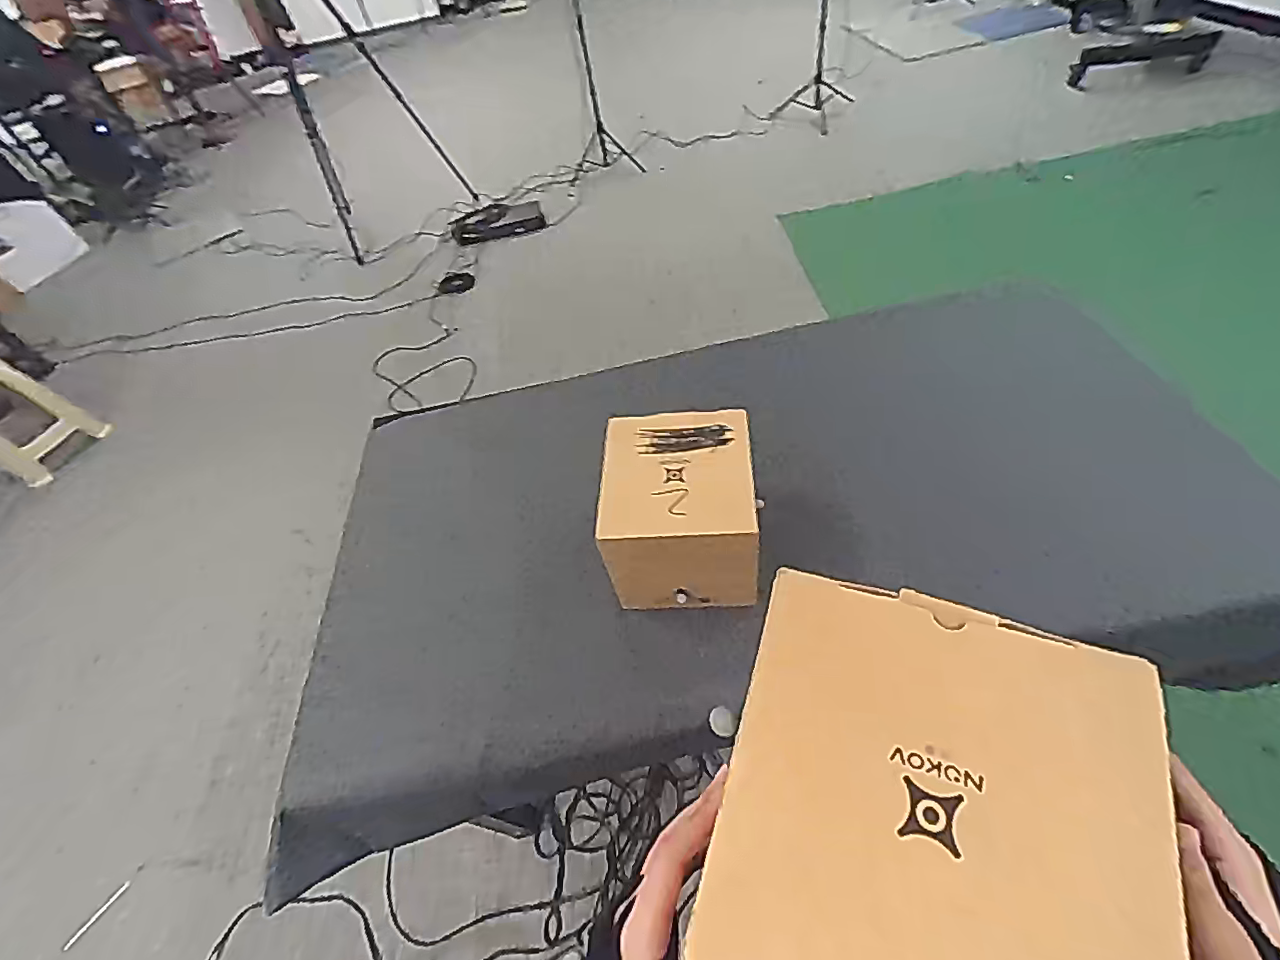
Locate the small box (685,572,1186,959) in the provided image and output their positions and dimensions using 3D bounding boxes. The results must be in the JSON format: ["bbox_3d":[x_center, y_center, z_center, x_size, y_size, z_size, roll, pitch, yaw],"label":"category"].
[{"bbox_3d":[0.136,0.179,0.289,0.168,0.176,0.179,13,60,19],"label":"small box"}]
